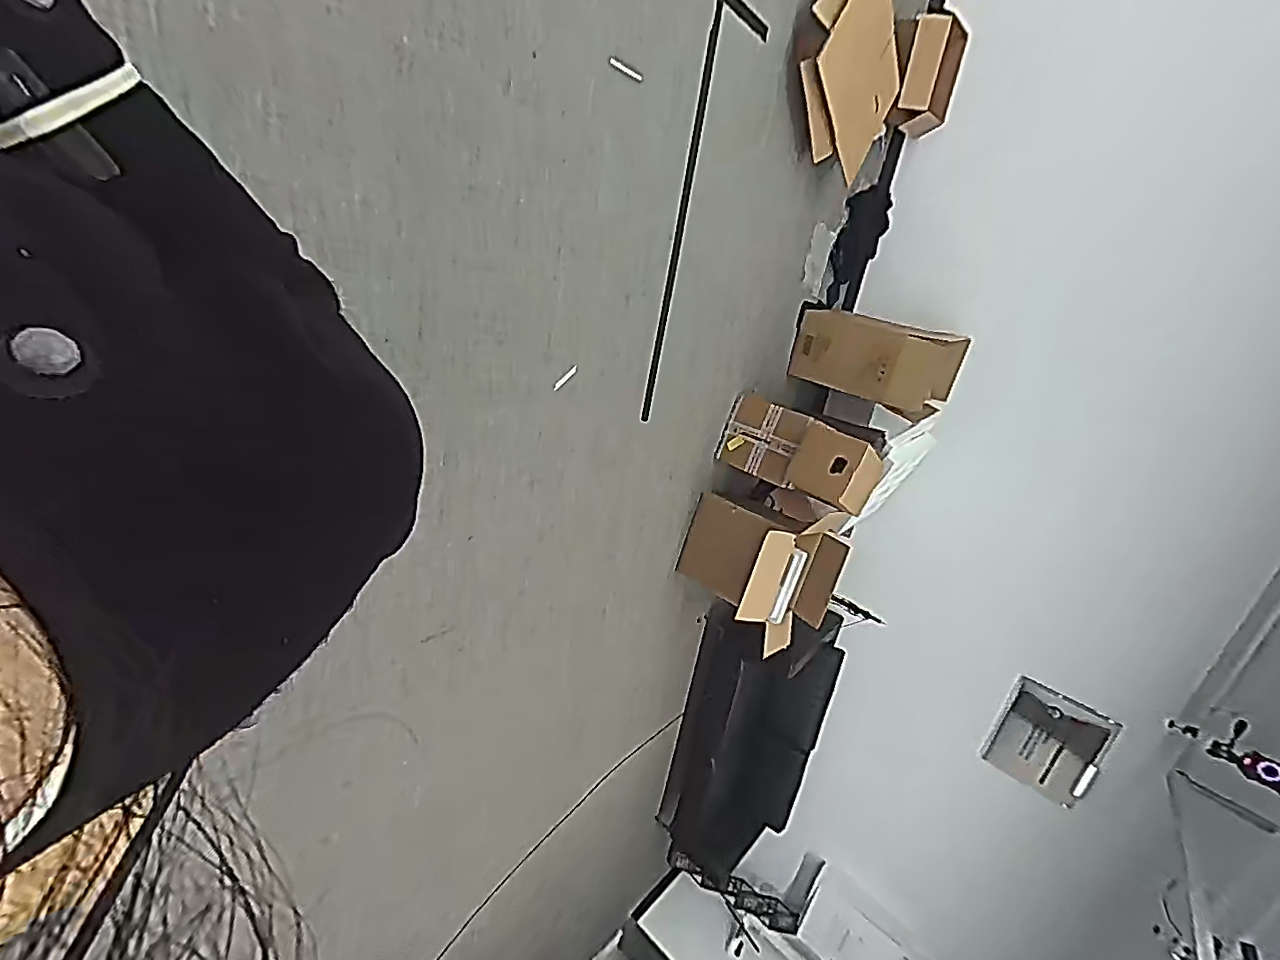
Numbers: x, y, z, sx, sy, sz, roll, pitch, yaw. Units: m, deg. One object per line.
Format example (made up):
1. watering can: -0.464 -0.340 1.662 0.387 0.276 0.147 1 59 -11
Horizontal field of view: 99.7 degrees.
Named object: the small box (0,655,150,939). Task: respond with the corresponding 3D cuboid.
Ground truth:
1. small box: -0.601 0.300 0.513 0.179 0.176 0.168 -10 117 -50
